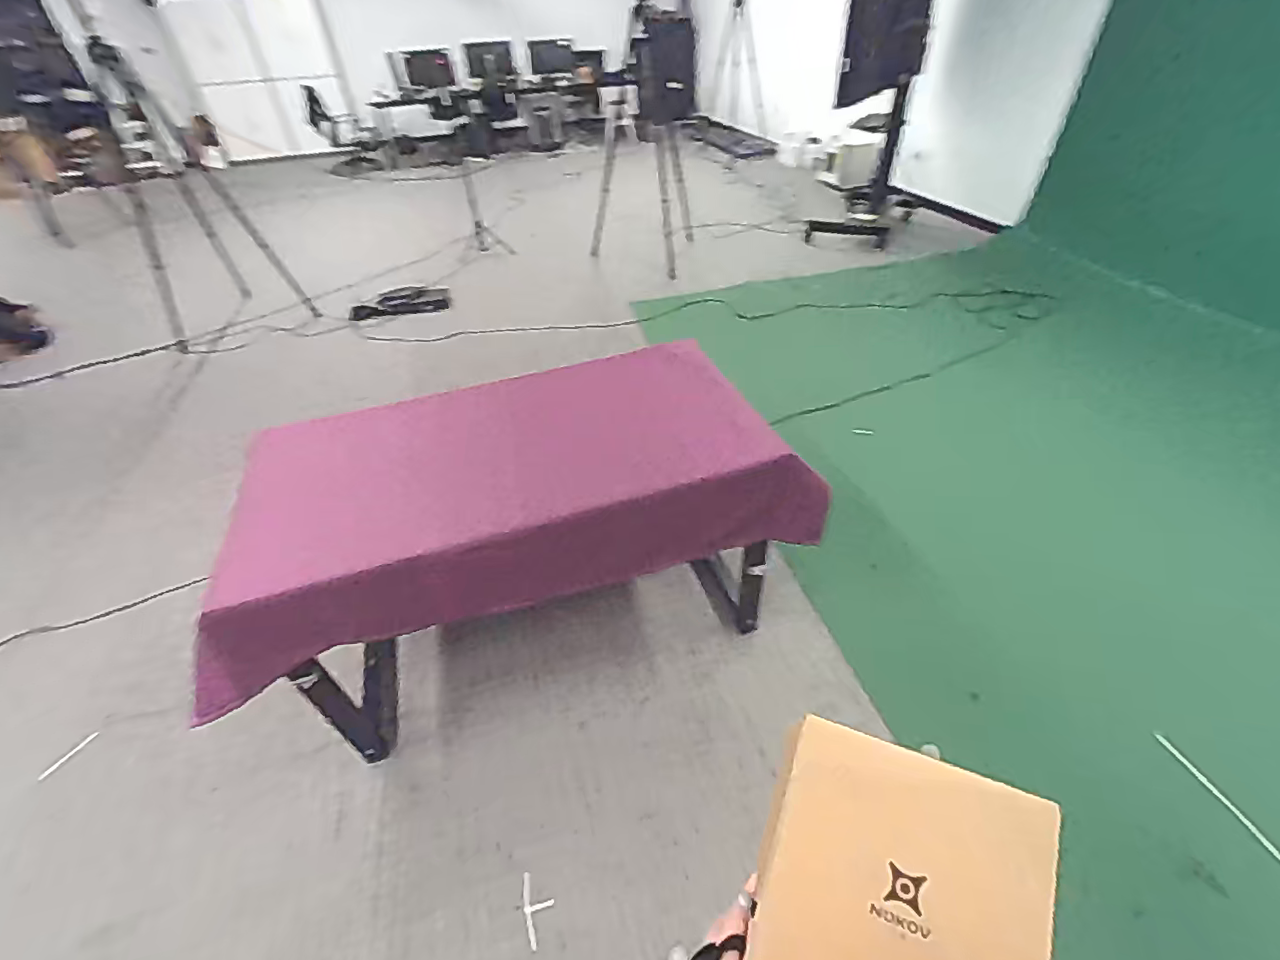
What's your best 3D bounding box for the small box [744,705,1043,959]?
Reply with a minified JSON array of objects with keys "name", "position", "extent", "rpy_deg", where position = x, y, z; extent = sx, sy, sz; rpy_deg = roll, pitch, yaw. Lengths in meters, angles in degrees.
[{"name":"small box","position":[0.179,0.294,0.424],"extent":[0.168,0.176,0.179],"rpy_deg":[13,69,16]}]
